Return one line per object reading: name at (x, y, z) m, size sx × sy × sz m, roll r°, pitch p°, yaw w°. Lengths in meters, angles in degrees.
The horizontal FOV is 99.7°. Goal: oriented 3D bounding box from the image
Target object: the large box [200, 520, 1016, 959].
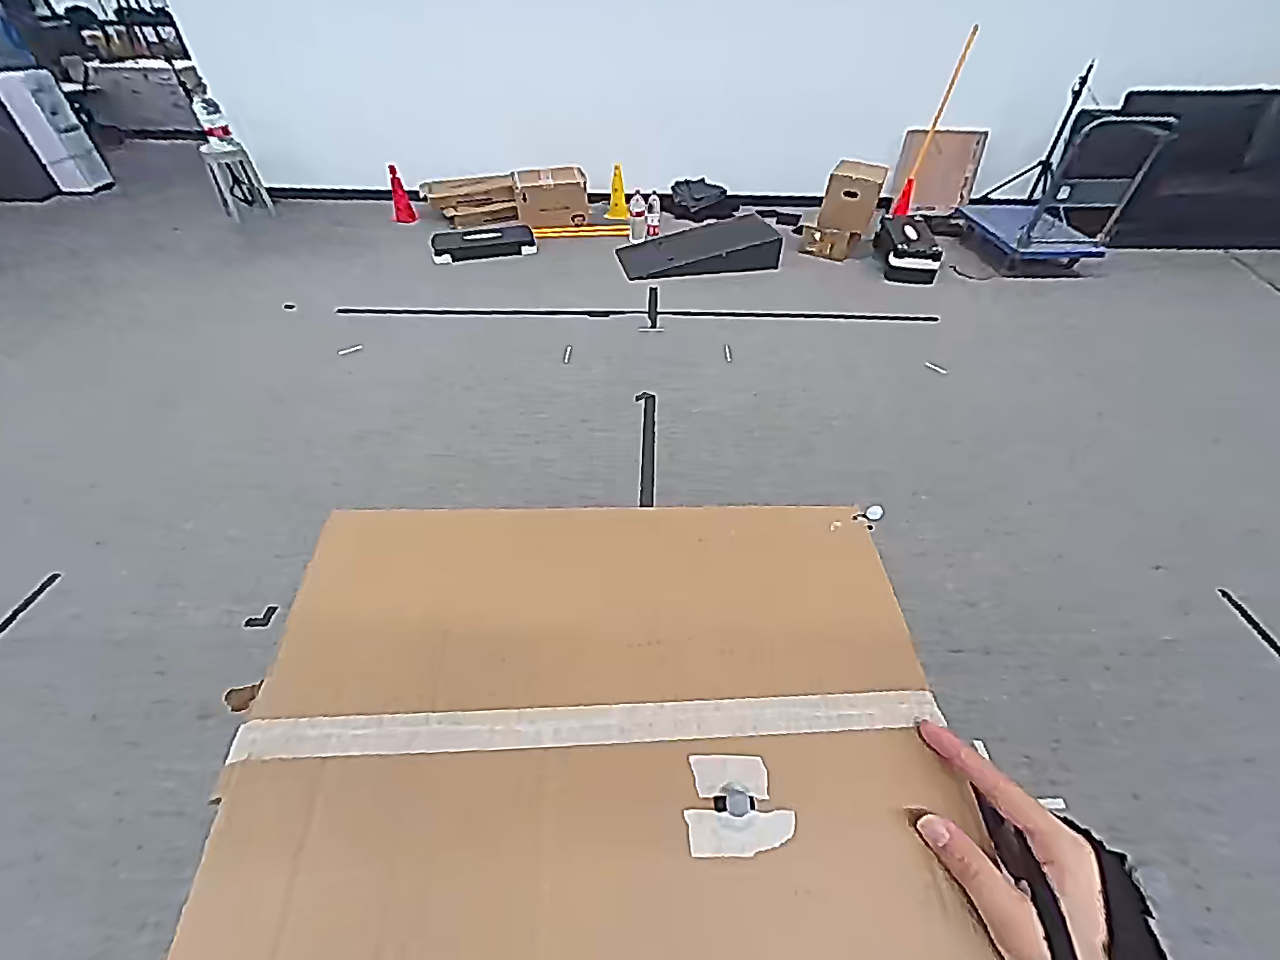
large box at (-0.026, 0.246, 0.443) m, size 0.408 × 0.320 × 0.320 m, roll 0°, pitch 52°, yaw -5°
